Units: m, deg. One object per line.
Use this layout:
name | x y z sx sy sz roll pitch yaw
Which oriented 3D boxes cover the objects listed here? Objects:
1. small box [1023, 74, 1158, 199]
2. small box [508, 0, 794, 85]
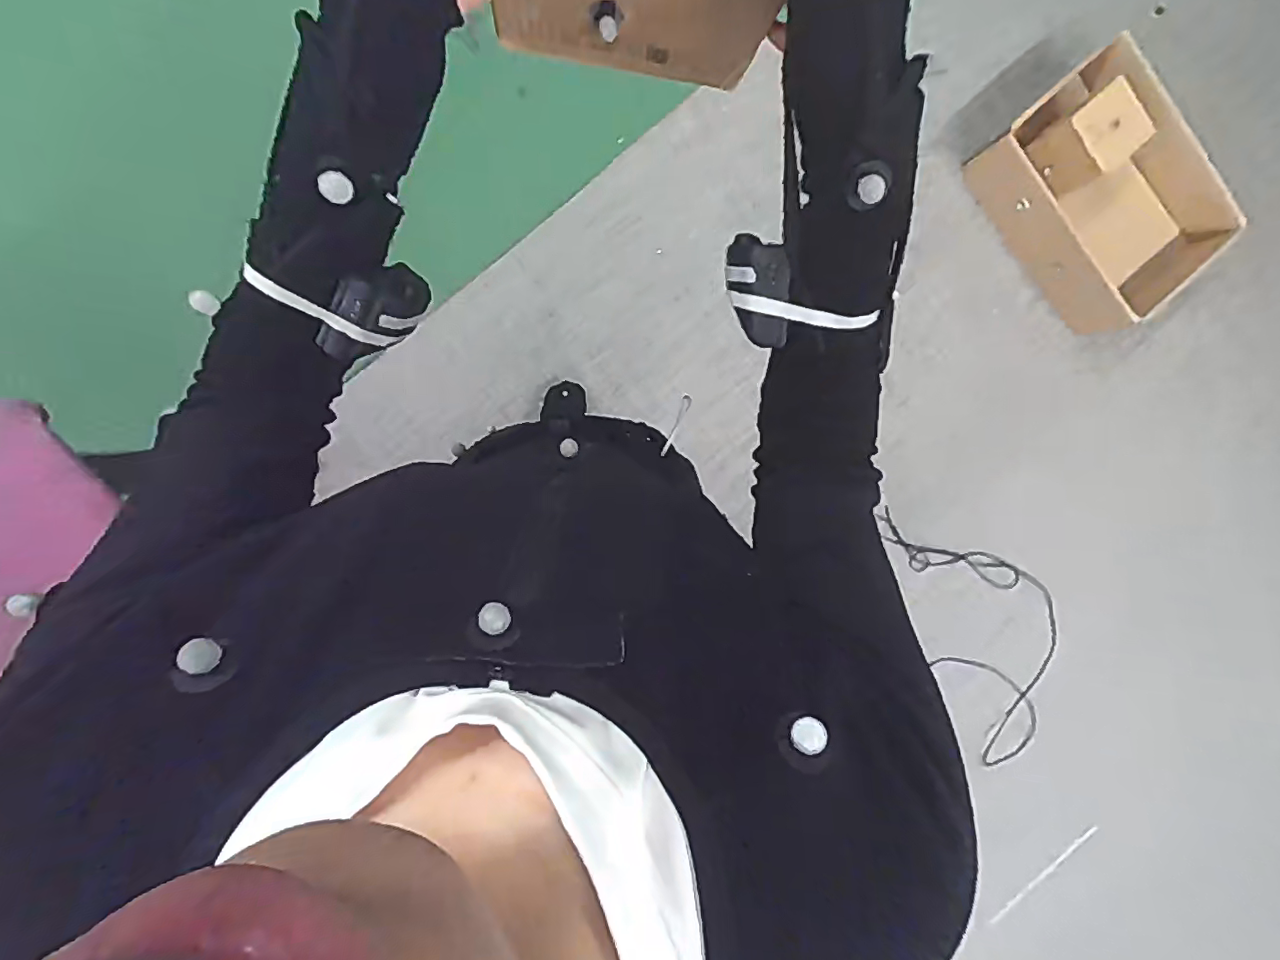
small box | 1.142 -0.868 1.383 0.179 0.176 0.168 -41 98 -2
small box | 0.013 -0.350 0.274 0.168 0.176 0.179 6 103 -9
